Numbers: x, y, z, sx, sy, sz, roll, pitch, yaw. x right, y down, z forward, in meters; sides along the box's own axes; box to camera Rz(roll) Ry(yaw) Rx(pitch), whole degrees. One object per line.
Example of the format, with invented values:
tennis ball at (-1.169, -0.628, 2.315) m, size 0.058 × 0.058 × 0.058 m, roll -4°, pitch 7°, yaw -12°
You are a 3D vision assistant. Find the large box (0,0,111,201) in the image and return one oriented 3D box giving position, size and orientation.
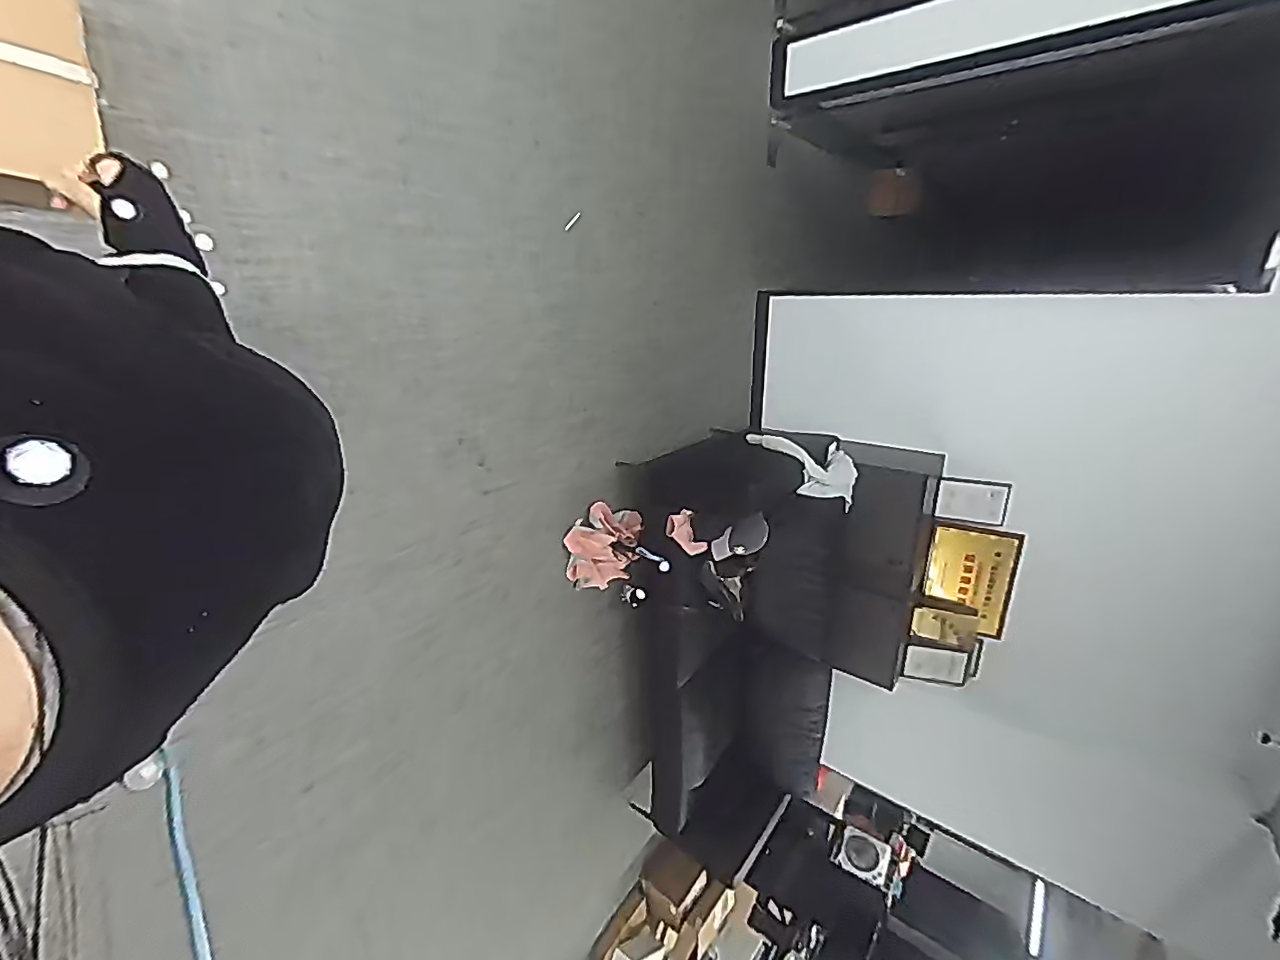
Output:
large box at (-1.069, -0.608, 0.757) m, size 0.408 × 0.320 × 0.320 m, roll -14°, pitch 112°, yaw -50°
